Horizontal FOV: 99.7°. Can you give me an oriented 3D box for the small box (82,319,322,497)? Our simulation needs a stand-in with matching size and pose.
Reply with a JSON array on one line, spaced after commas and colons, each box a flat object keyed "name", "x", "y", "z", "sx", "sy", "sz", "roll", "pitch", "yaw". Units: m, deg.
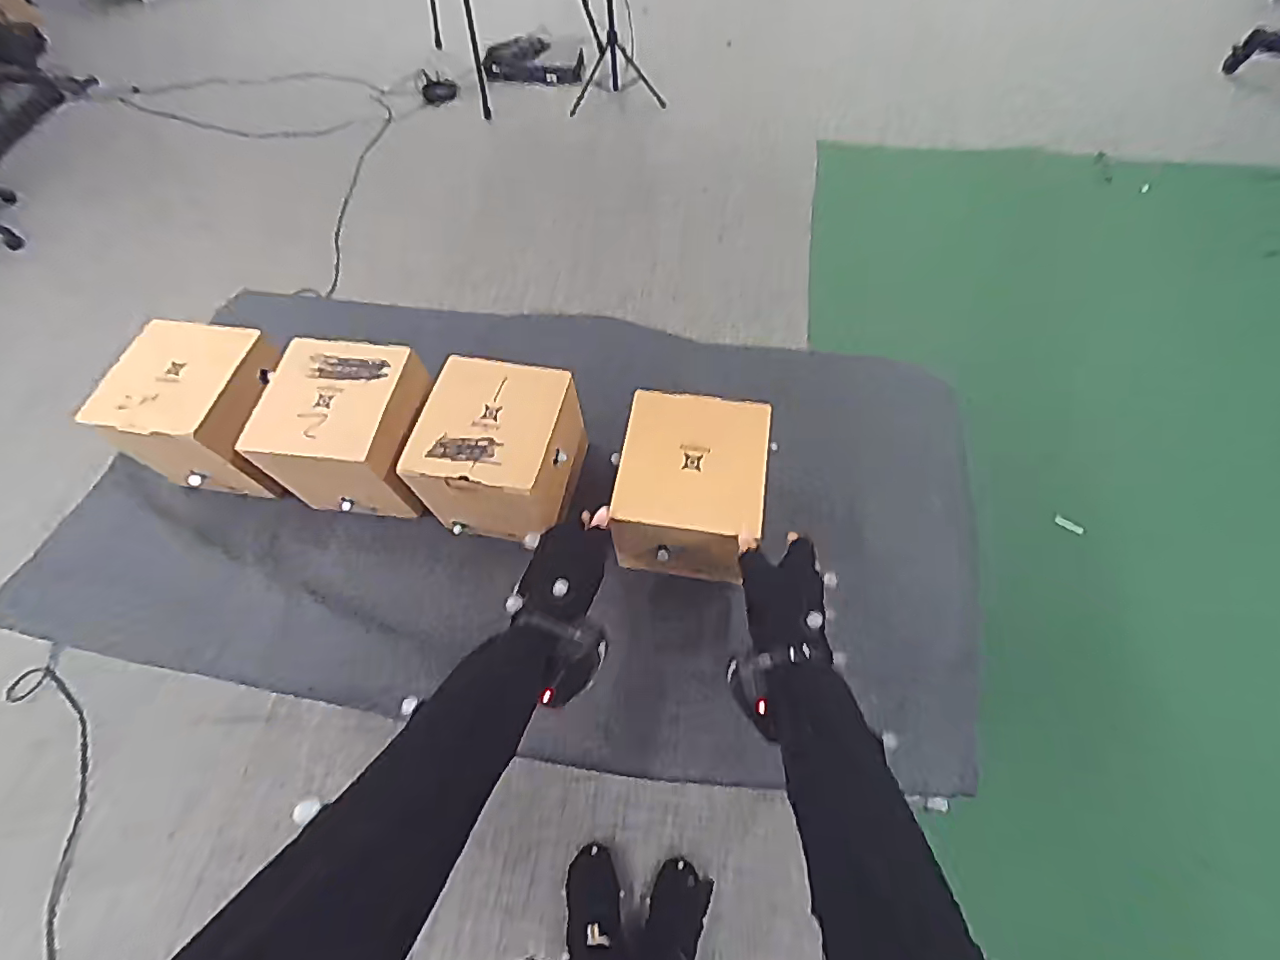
[{"name": "small box", "x": -0.593, "y": -0.098, "z": 0.766, "sx": 0.168, "sy": 0.176, "sz": 0.179, "roll": 7, "pitch": 62, "yaw": 6}]
